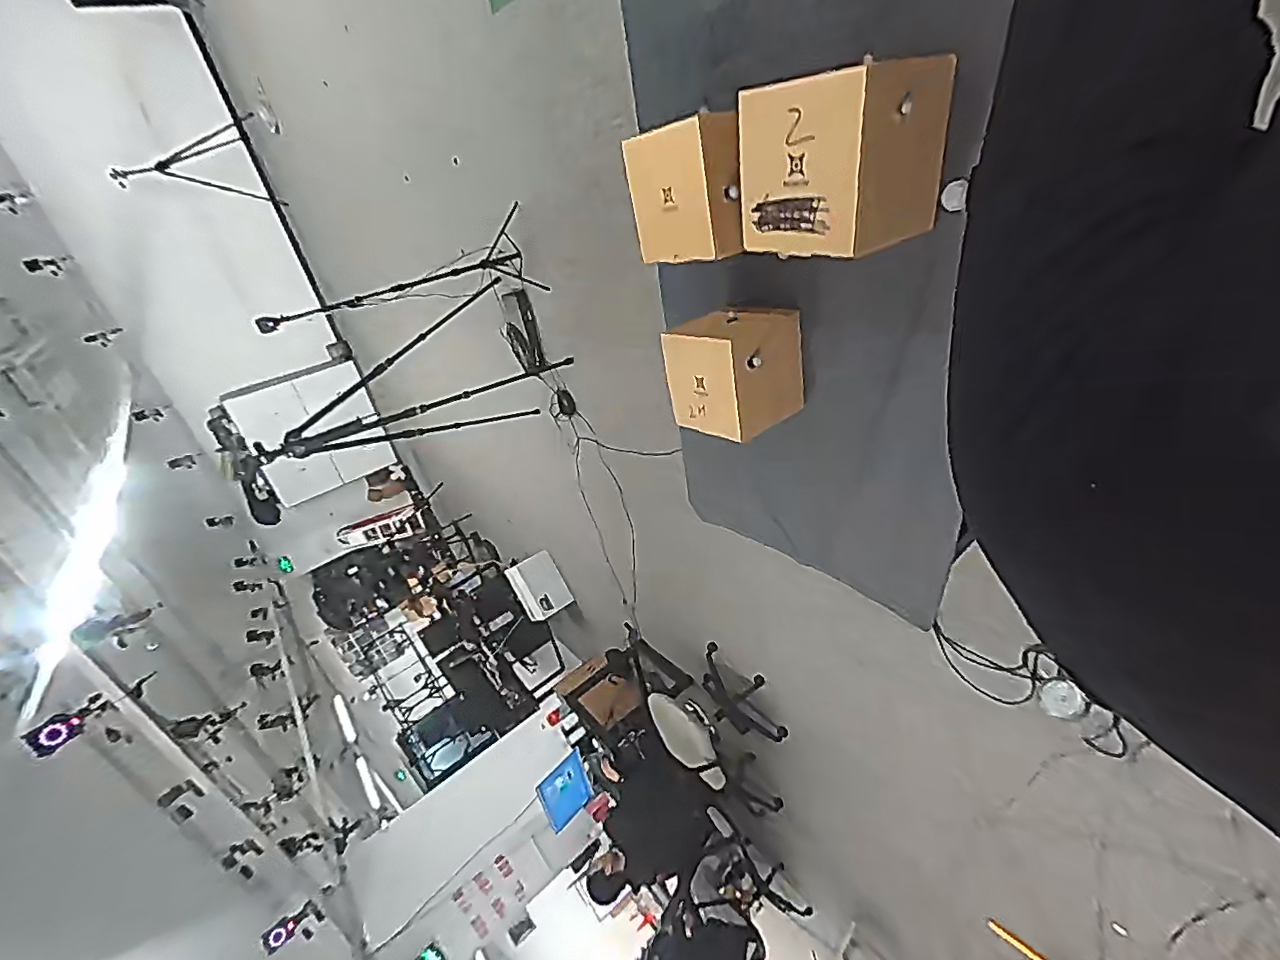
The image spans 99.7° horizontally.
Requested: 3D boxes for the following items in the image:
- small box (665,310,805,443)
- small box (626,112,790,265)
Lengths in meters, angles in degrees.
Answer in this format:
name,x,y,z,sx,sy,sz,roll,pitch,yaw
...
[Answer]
name,x,y,z,sx,sy,sz,roll,pitch,yaw
small box,0.170,-0.190,0.945,0.168,0.176,0.179,24,135,48
small box,0.108,-0.439,0.822,0.168,0.176,0.179,22,135,48
